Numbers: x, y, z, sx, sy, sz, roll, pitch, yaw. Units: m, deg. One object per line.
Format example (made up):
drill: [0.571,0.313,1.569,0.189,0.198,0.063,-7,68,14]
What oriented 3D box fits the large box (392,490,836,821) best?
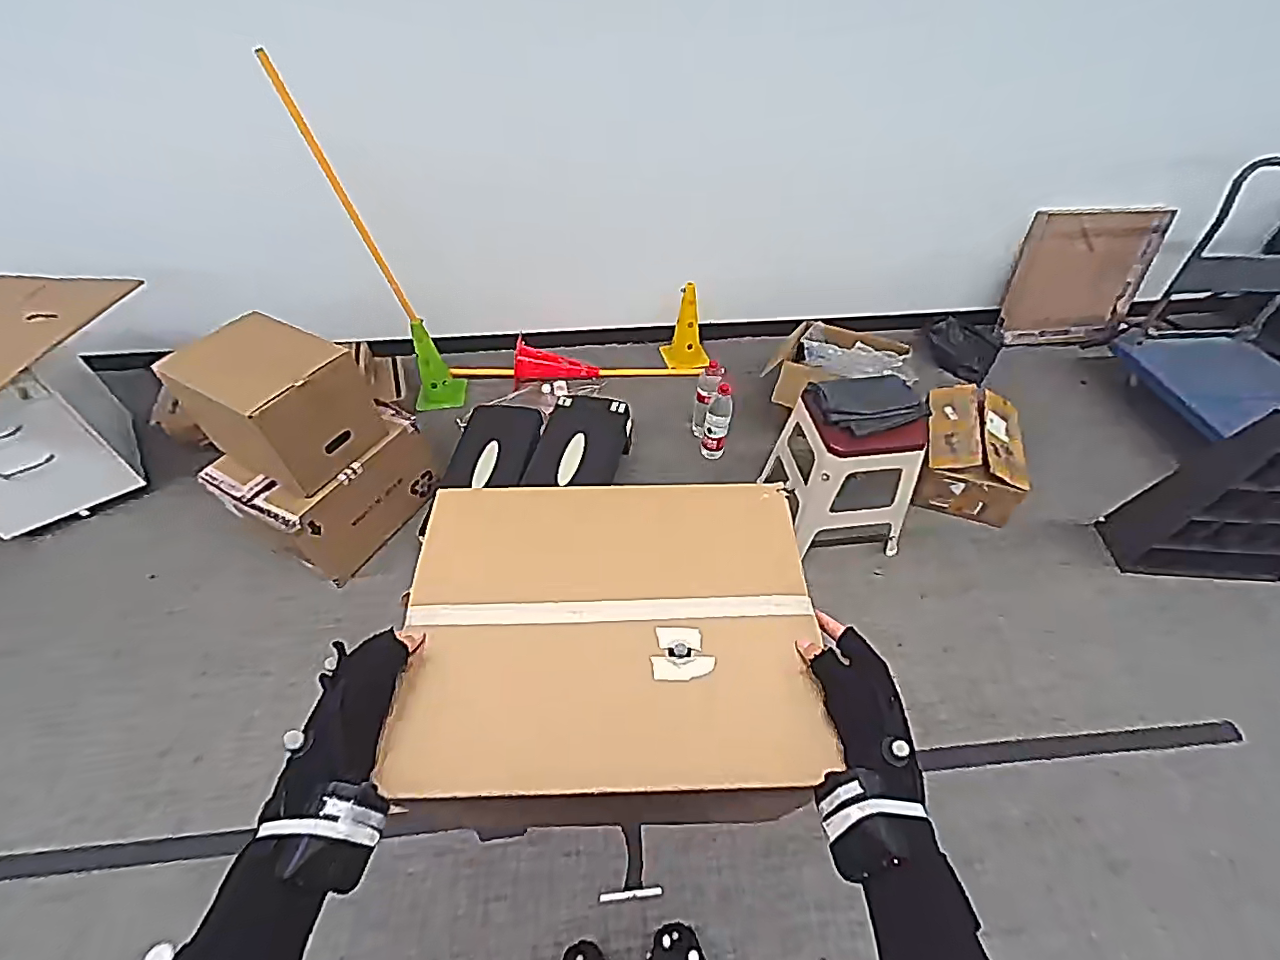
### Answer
large box: [-0.030,0.228,0.682,0.408,0.320,0.320,-1,54,-2]
